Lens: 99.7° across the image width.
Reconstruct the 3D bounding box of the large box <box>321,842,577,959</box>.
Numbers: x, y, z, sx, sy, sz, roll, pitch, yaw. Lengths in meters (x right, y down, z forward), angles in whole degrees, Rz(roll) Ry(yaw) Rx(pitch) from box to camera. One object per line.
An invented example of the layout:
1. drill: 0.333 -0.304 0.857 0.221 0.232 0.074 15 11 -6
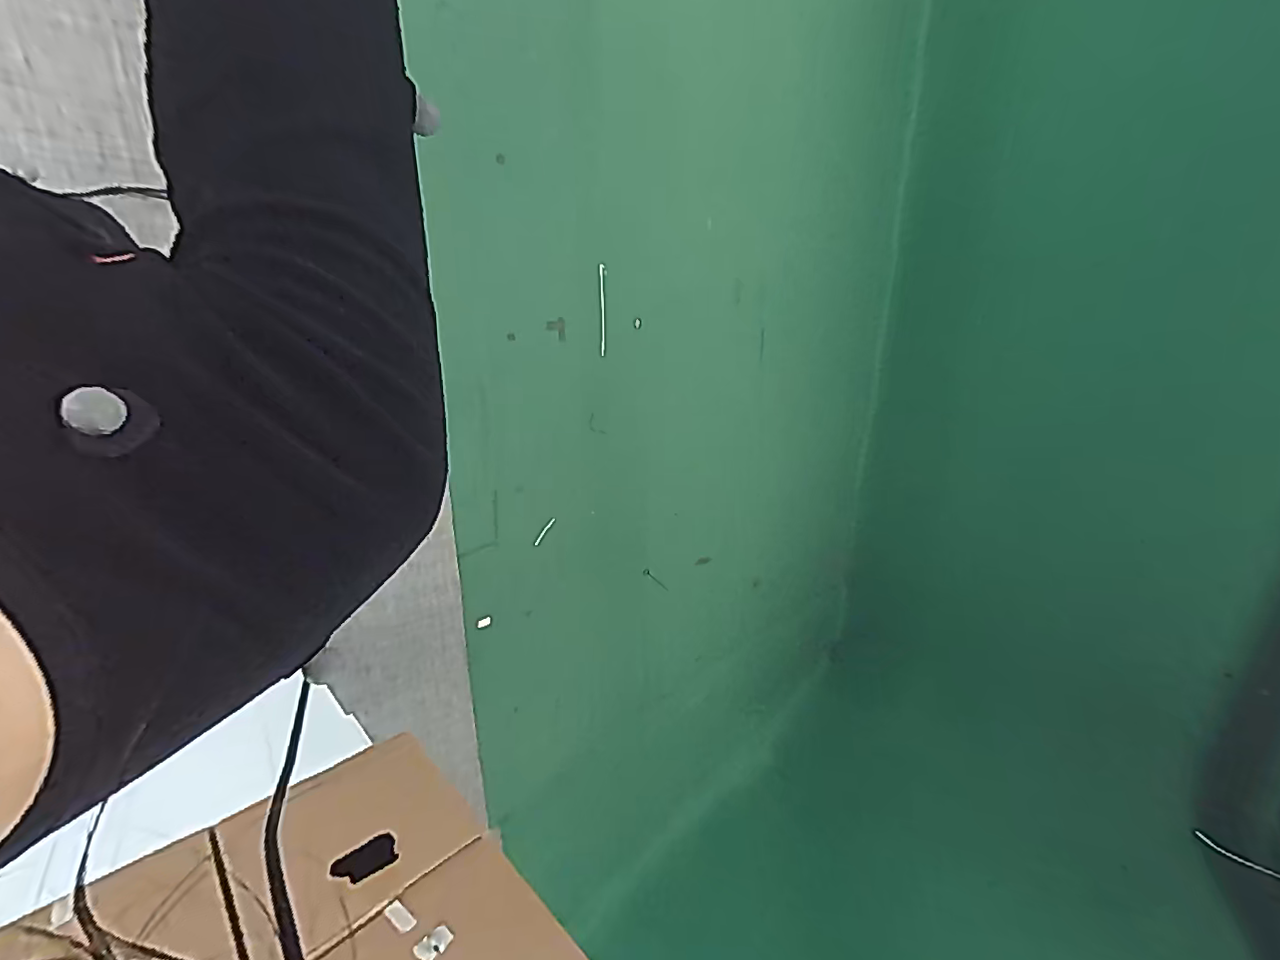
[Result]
1. large box: -0.248 0.808 0.707 0.320 0.320 0.408 -17 116 -43
